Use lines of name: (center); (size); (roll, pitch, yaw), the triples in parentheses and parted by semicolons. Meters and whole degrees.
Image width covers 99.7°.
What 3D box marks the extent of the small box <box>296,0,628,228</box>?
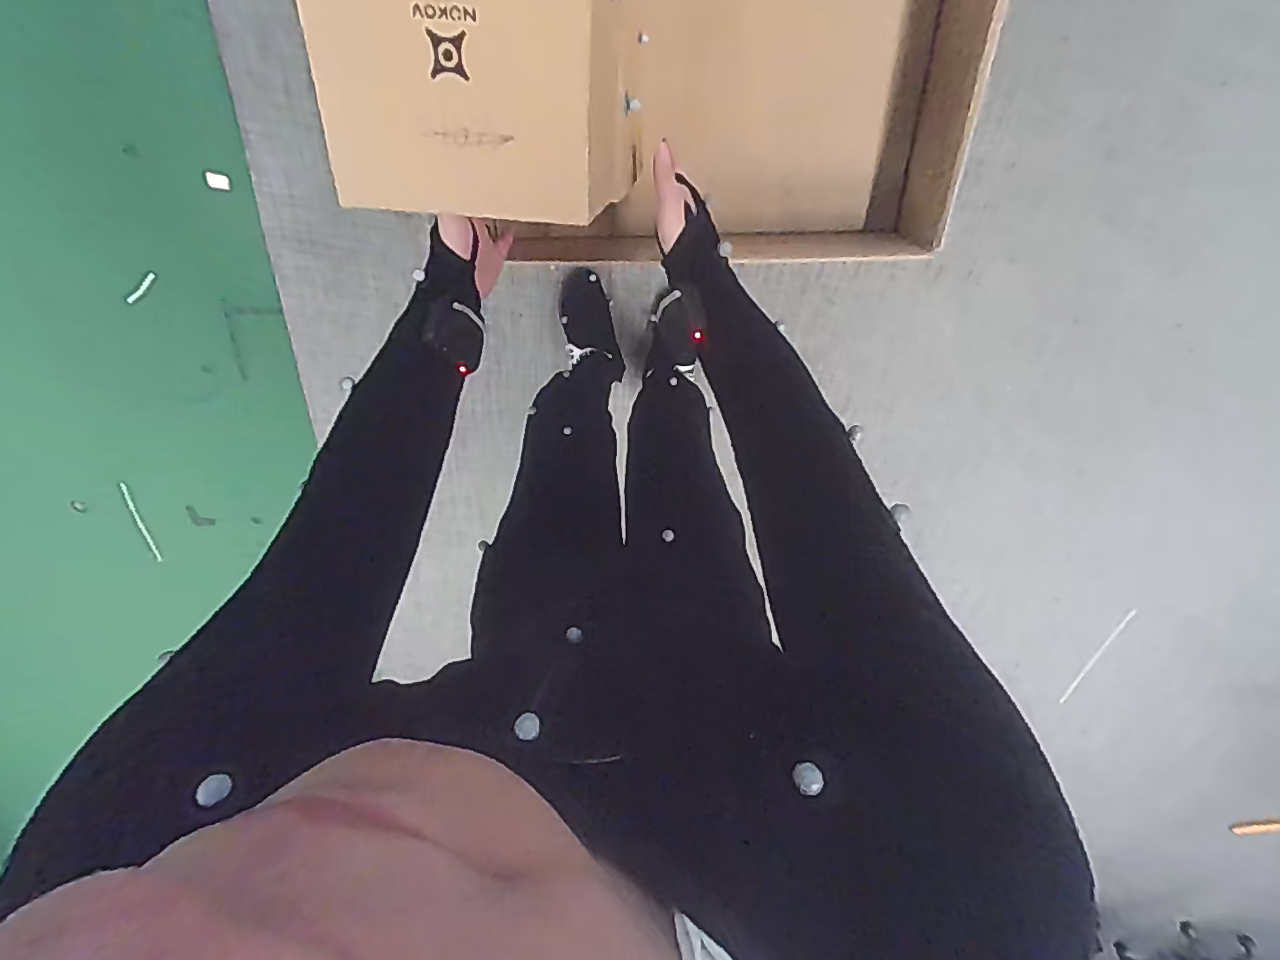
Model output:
small box: (-0.099, -0.282, 0.360); (0.168, 0.176, 0.179); (6, 124, 1)

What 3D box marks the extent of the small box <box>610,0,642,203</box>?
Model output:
small box: (-0.087, -0.367, 0.499); (0.168, 0.176, 0.179); (4, 122, 0)
